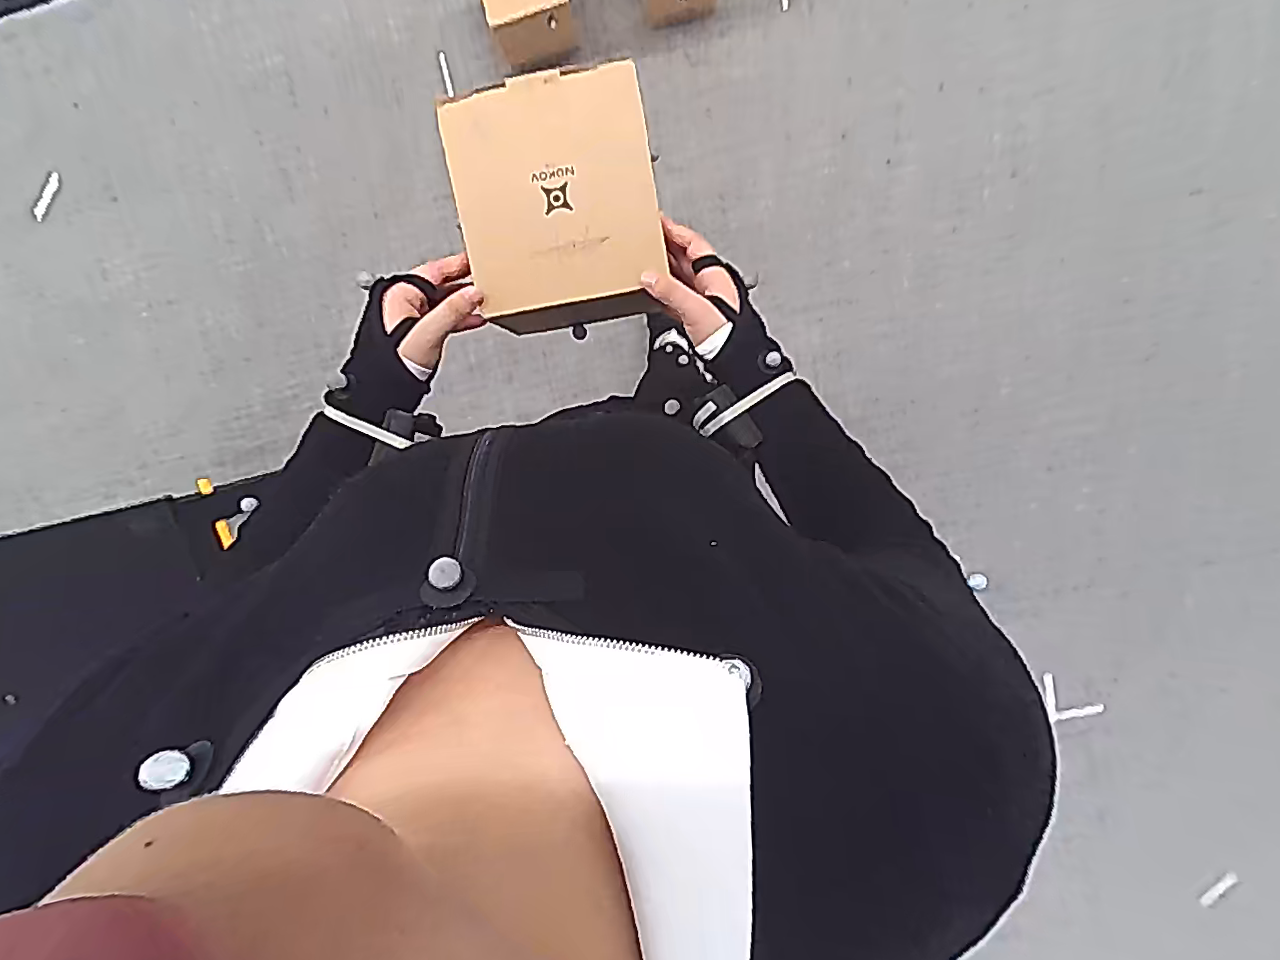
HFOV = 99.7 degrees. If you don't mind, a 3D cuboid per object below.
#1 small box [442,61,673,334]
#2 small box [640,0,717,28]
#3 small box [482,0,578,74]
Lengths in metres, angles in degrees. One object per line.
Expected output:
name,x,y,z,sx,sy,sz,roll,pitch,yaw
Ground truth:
small box,-0.067,-0.250,0.523,0.168,0.176,0.179,-10,100,1
small box,0.077,-1.112,1.152,0.168,0.176,0.179,-11,102,4
small box,-0.242,-1.036,1.176,0.179,0.176,0.168,-15,101,6
